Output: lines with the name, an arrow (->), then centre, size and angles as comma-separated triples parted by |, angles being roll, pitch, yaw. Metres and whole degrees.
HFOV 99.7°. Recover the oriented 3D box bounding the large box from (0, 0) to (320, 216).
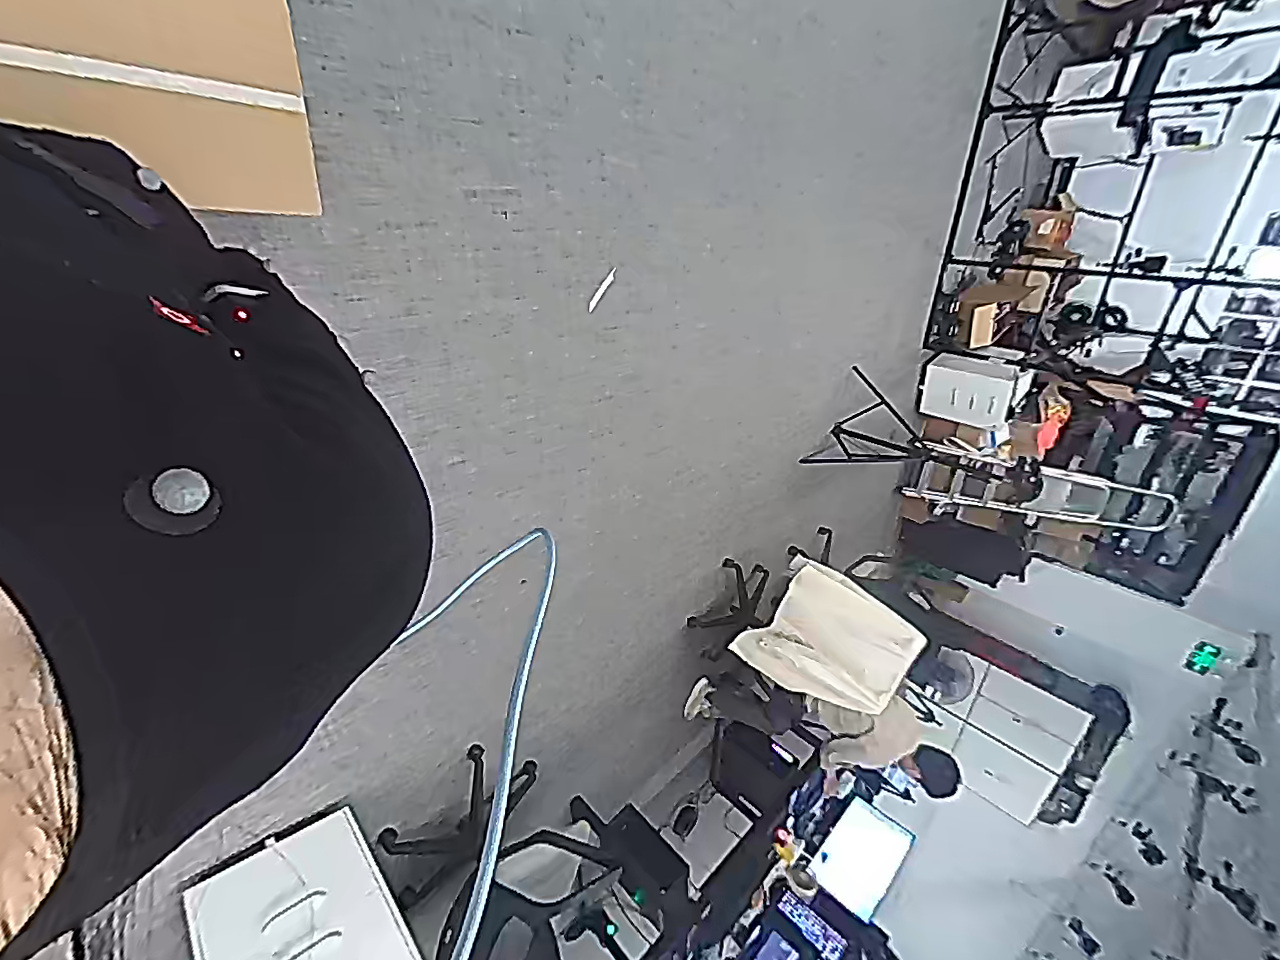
large box -> -0.778, -0.580, 0.816 | 0.408, 0.320, 0.320 | -20, 124, -41
